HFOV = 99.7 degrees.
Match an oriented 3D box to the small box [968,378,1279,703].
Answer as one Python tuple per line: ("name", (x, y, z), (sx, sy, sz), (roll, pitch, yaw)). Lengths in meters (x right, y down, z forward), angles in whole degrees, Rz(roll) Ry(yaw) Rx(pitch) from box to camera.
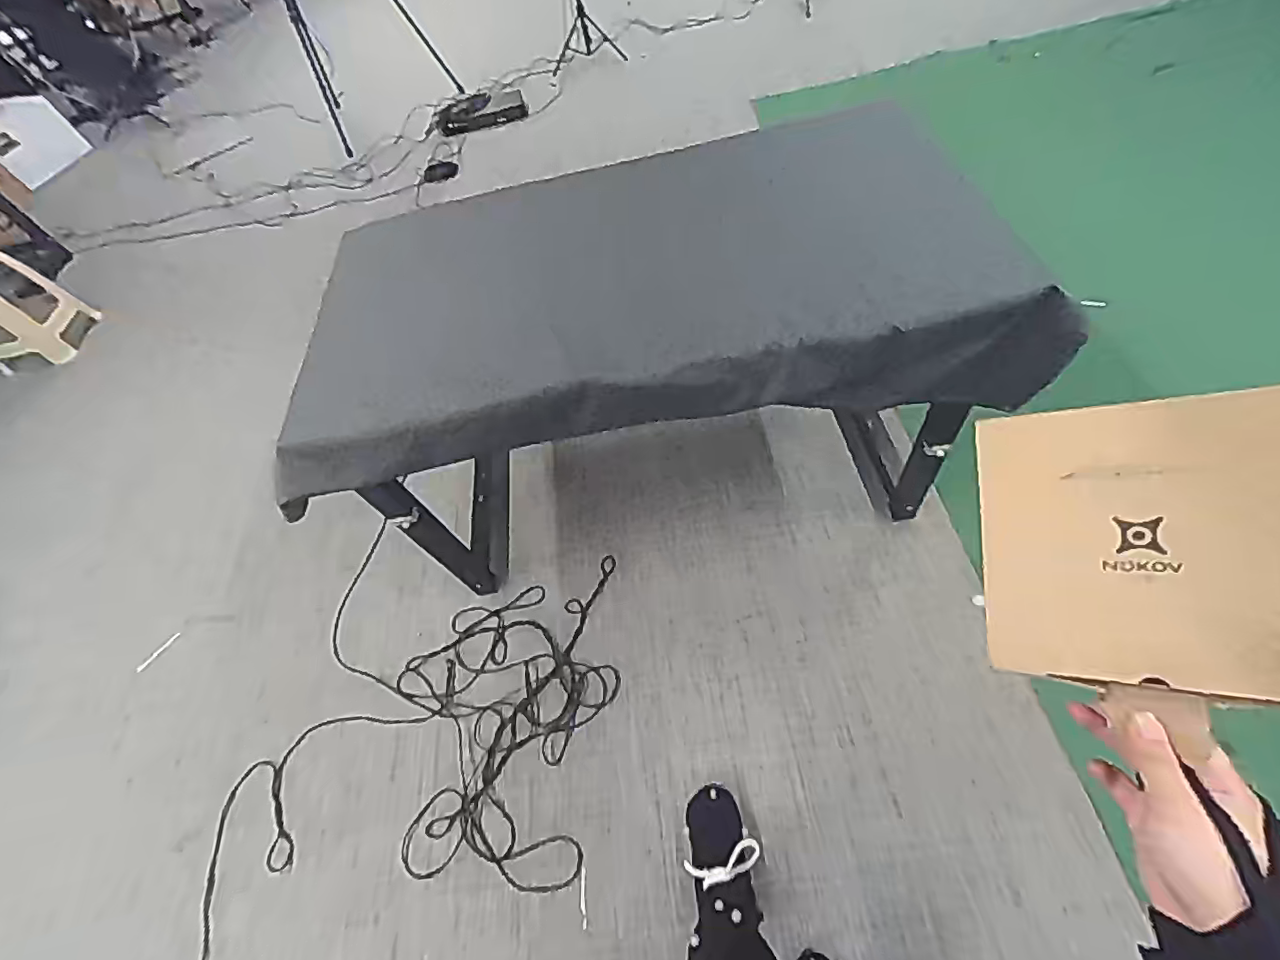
("small box", (0.343, 0.044, 0.388), (0.168, 0.176, 0.179), (-4, 79, 36))
